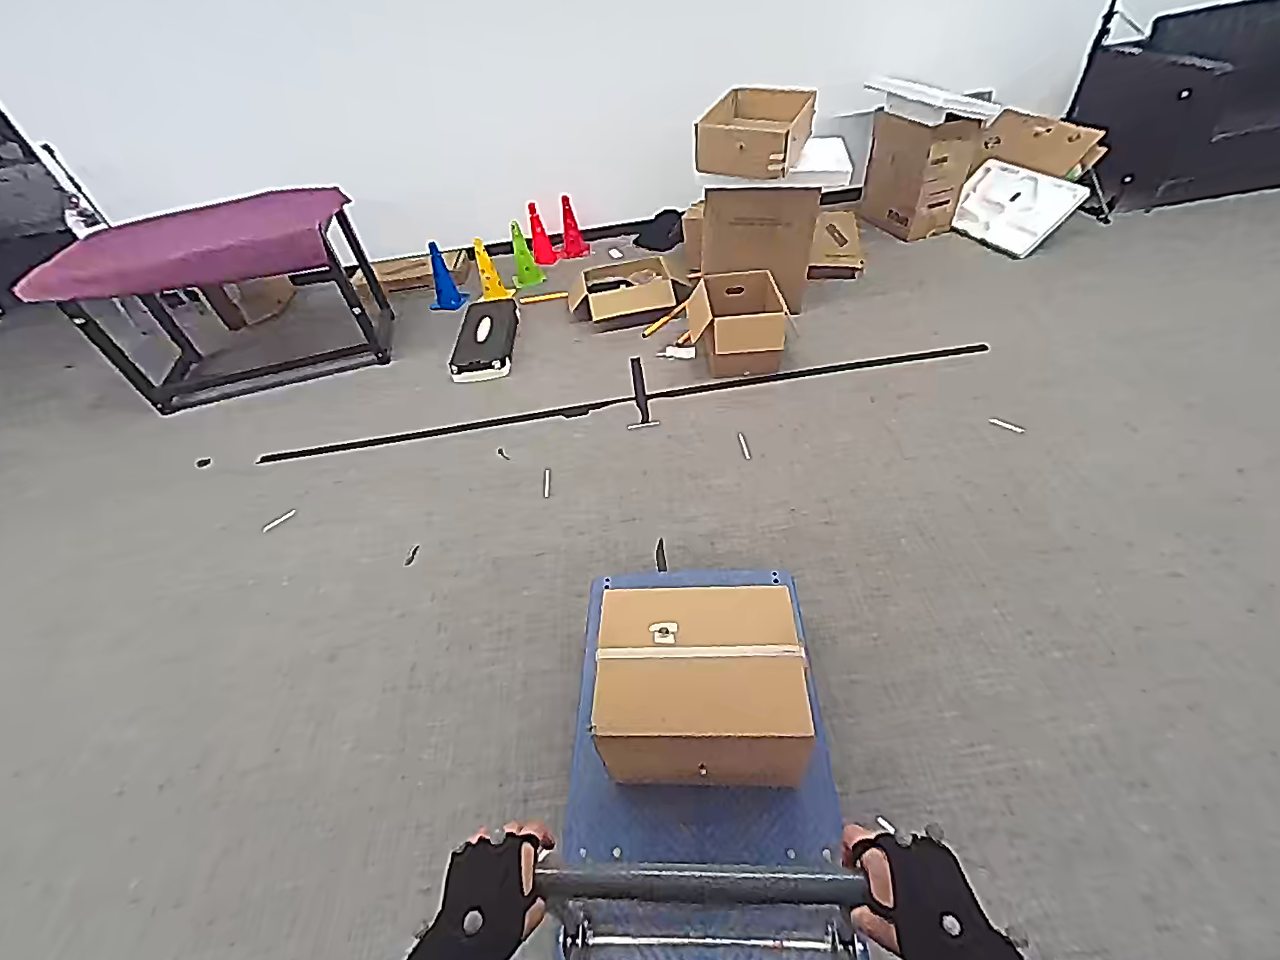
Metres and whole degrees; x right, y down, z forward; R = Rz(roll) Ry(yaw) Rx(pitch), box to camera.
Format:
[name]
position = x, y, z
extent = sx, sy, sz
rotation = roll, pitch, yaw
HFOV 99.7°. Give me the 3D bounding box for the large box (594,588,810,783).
[large box]
position = 0.133, 0.462, 1.201
extent = 0.408, 0.320, 0.320
rotation = -4, 45, 6
